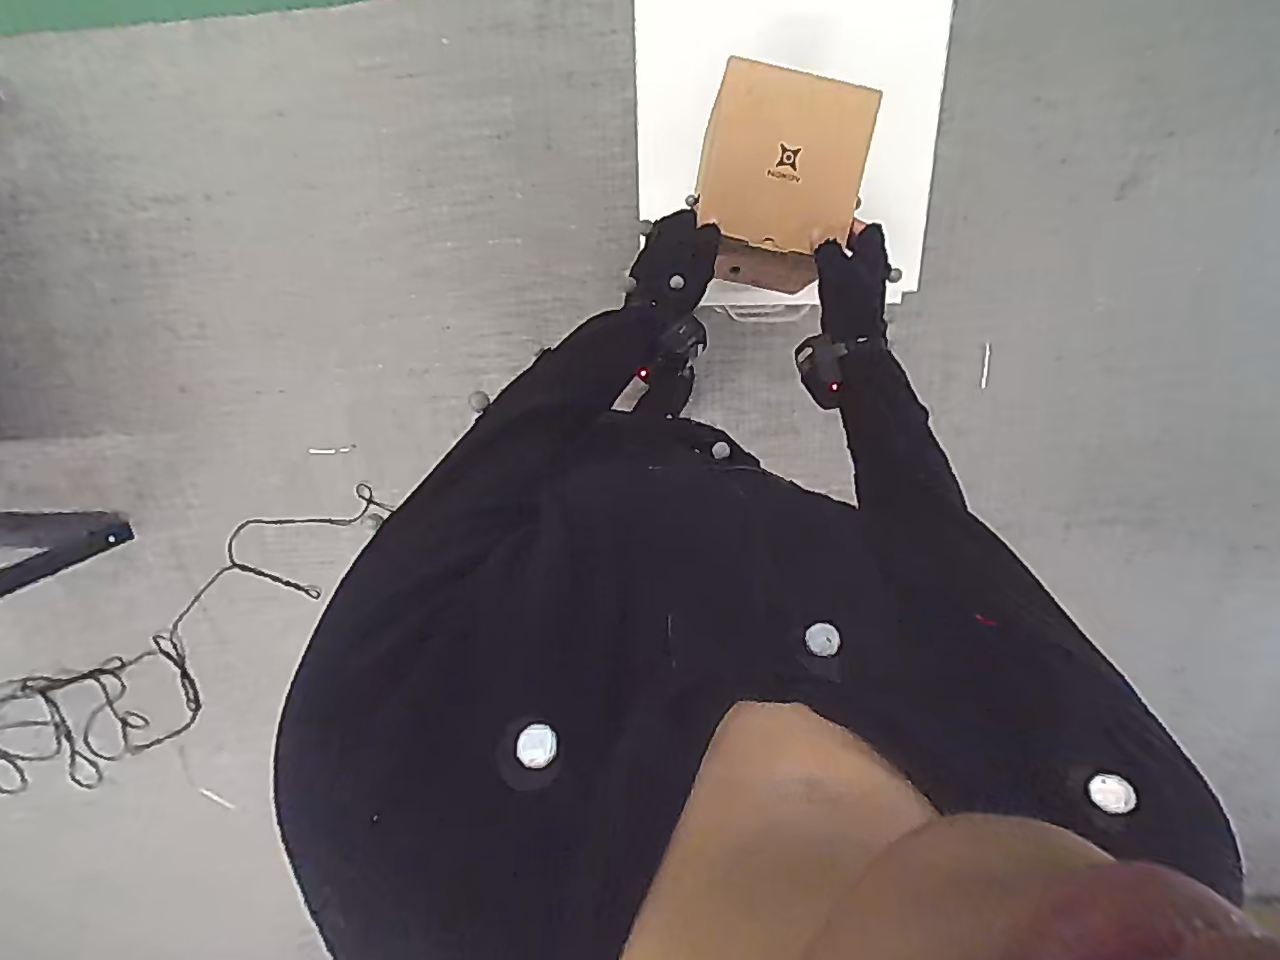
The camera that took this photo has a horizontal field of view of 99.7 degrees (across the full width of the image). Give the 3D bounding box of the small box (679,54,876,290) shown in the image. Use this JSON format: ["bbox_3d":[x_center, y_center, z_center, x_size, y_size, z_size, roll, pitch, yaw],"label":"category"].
[{"bbox_3d":[0.145,-0.343,0.638,0.168,0.176,0.179,11,99,-3],"label":"small box"}]
